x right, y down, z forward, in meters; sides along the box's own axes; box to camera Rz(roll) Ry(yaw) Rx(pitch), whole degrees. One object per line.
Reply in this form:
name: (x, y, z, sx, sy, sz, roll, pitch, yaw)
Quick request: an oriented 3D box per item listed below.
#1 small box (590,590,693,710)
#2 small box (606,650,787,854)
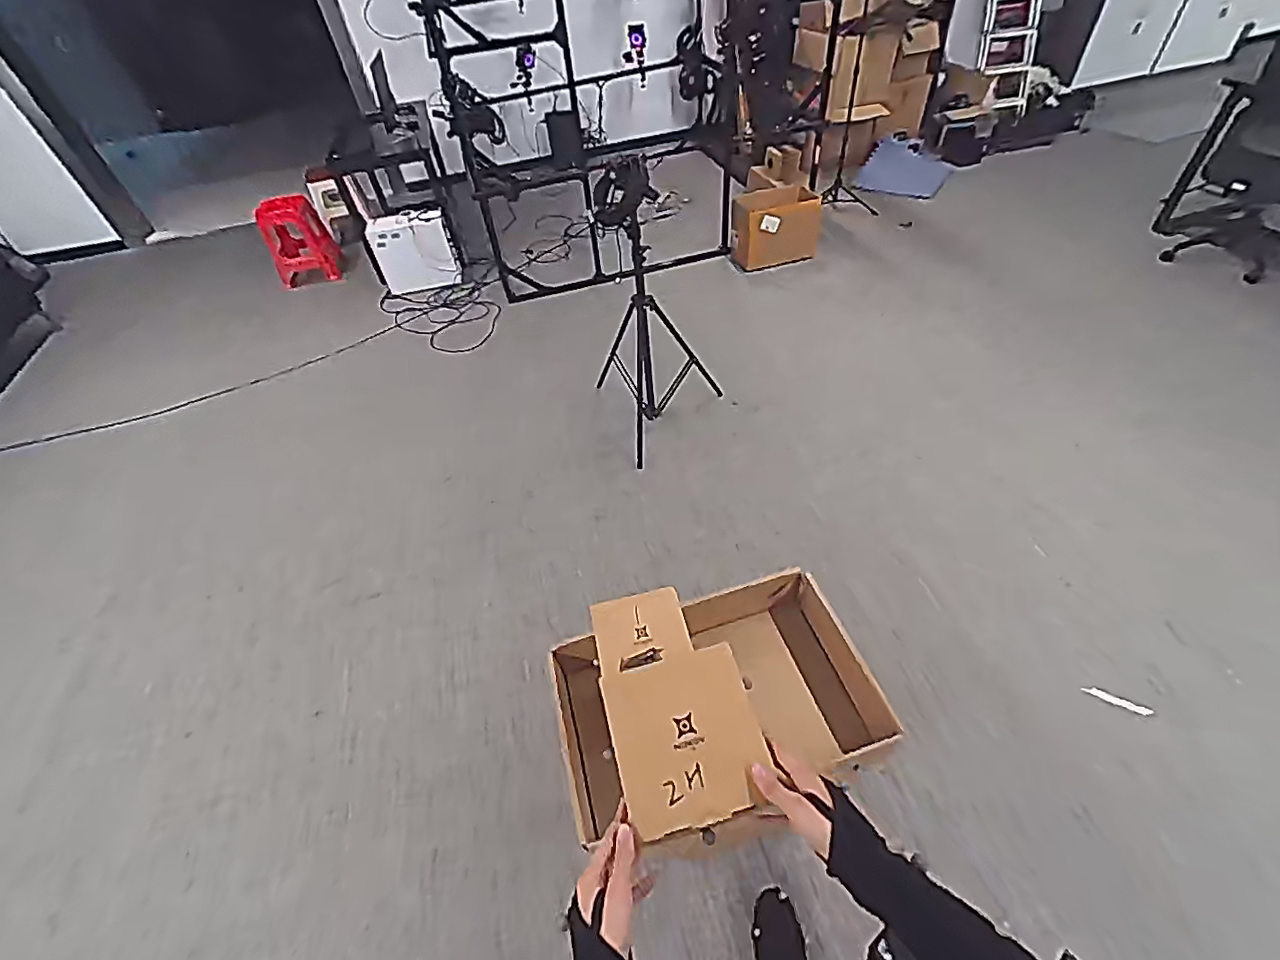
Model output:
small box: (0.009, 0.340, 1.021, 0.168, 0.176, 0.179, -12, 47, -5)
small box: (0.060, 0.340, 0.671, 0.168, 0.176, 0.179, -14, 55, -6)
